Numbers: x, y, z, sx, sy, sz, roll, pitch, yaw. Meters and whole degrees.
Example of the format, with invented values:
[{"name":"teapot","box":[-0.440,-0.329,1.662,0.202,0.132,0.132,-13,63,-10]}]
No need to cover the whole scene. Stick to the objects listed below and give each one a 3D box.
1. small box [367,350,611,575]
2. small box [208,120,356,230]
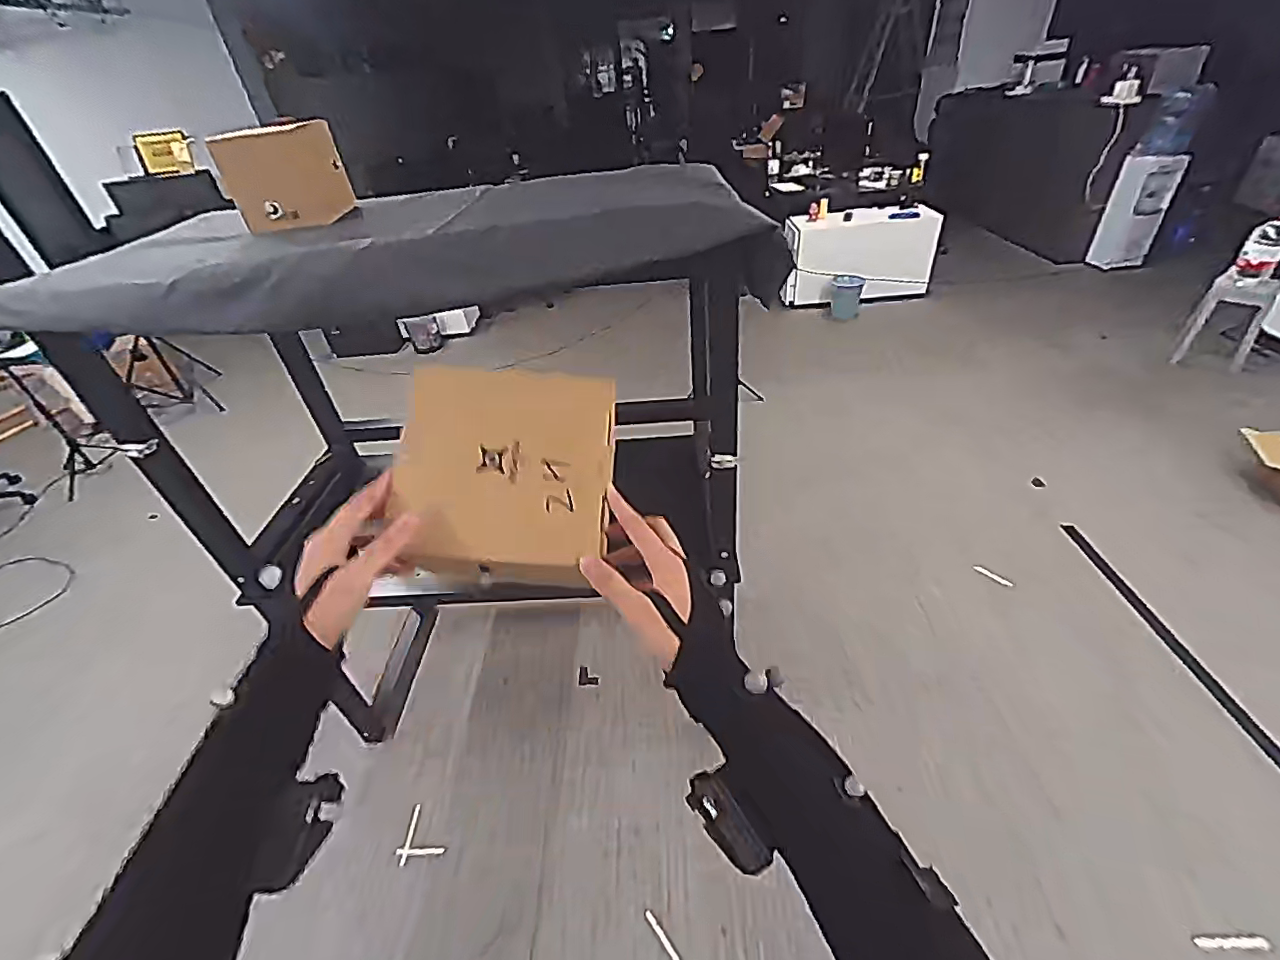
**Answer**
[{"name":"small box","box":[-0.122,-0.004,0.516,0.179,0.176,0.168,5,74,-2]},{"name":"small box","box":[-0.710,-0.622,1.103,0.168,0.176,0.179,-8,38,0]}]
